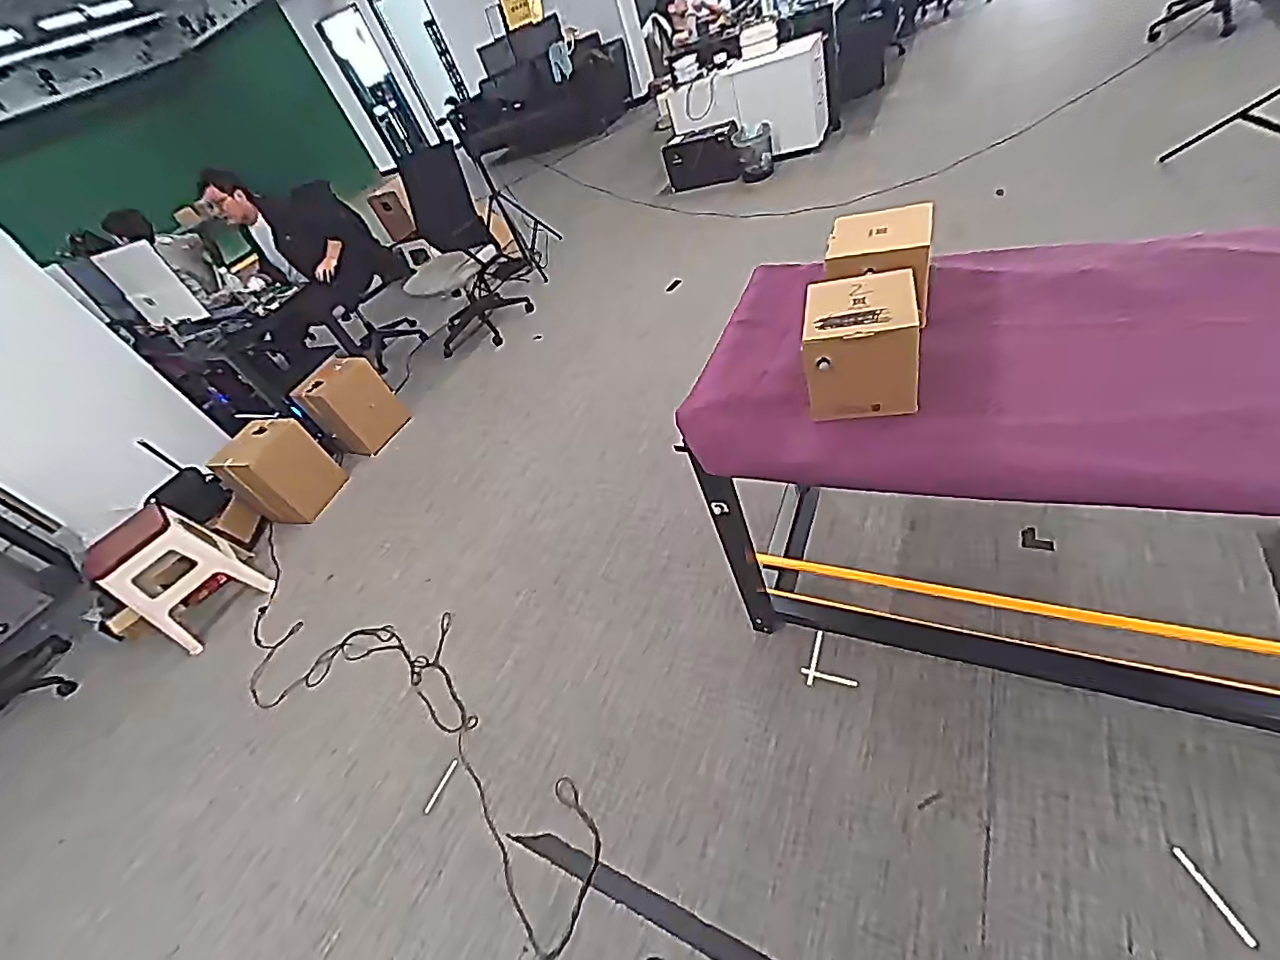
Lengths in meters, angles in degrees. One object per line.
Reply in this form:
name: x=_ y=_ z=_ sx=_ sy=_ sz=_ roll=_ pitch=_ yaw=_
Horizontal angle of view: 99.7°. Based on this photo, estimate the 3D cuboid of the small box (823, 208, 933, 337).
small box: x=0.467 y=-0.398 z=1.057 sx=0.179 sy=0.176 sz=0.168 roll=3 pitch=49 yaw=28
